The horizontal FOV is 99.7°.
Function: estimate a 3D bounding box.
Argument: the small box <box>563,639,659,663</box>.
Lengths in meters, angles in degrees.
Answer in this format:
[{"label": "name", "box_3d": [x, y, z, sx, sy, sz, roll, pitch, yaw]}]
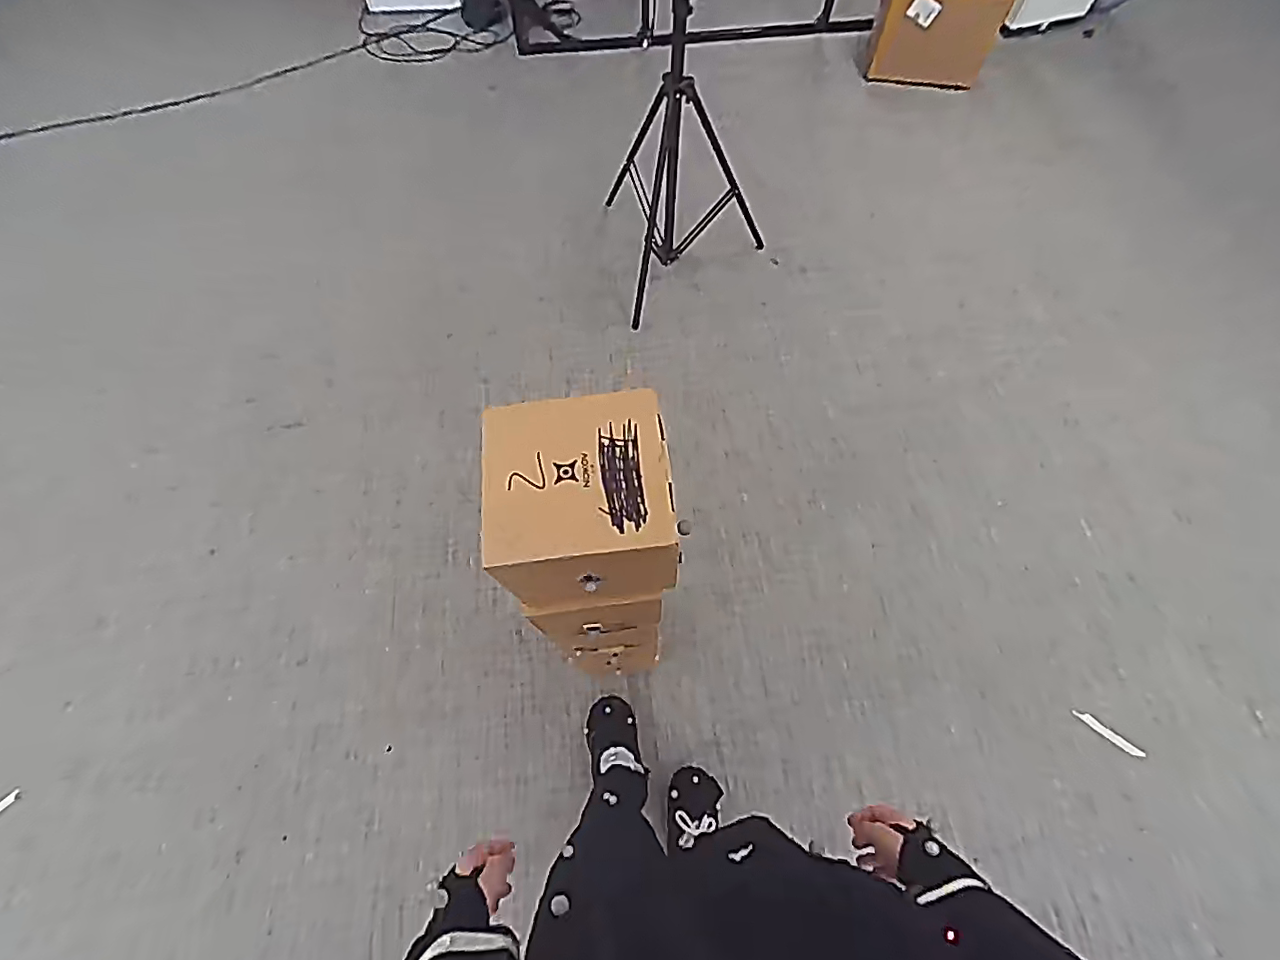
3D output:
[{"label": "small box", "box_3d": [-0.052, 0.244, 1.014, 0.168, 0.176, 0.179, -5, 66, -1]}]

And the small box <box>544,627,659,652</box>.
[{"label": "small box", "box_3d": [-0.058, 0.174, 0.865, 0.168, 0.176, 0.179, -5, 64, -1]}]

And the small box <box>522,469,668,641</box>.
[{"label": "small box", "box_3d": [-0.057, 0.105, 0.719, 0.168, 0.176, 0.179, -7, 66, -1]}]

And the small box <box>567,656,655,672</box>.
[{"label": "small box", "box_3d": [-0.059, 0.316, 1.160, 0.179, 0.176, 0.168, -4, 66, -1]}]

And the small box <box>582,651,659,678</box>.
[{"label": "small box", "box_3d": [-0.051, 0.381, 1.311, 0.179, 0.176, 0.168, -6, 66, -2]}]
